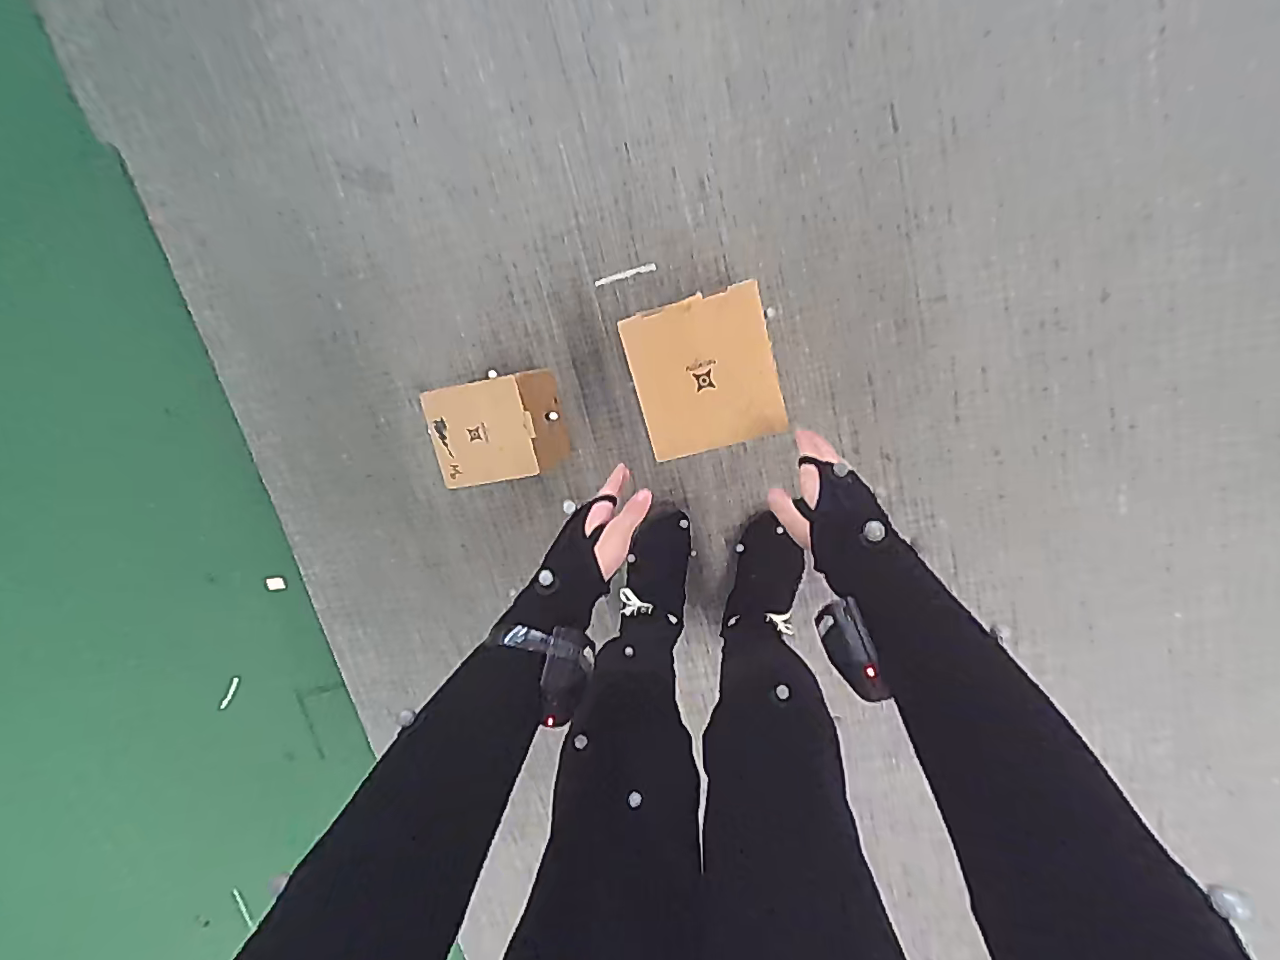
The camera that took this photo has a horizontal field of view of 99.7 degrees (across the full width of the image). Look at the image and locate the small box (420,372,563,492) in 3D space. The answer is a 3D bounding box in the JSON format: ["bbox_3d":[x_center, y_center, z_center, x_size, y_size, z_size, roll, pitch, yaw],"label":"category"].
[{"bbox_3d":[-0.245,-0.090,0.947,0.179,0.176,0.168,-10,103,11],"label":"small box"}]

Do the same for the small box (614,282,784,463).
[{"bbox_3d":[0.083,-0.141,0.703,0.168,0.176,0.179,-15,102,14],"label":"small box"}]
